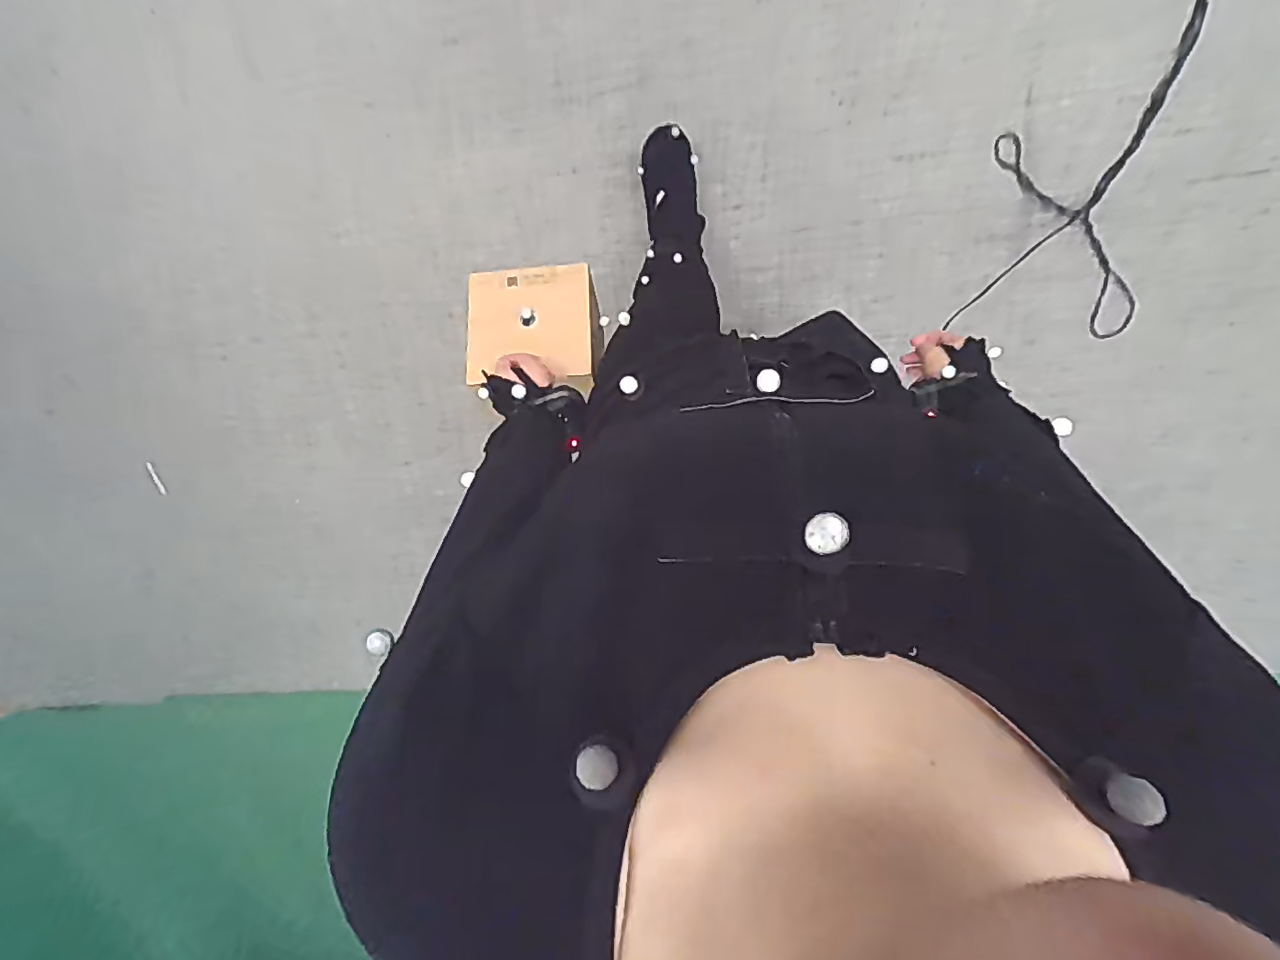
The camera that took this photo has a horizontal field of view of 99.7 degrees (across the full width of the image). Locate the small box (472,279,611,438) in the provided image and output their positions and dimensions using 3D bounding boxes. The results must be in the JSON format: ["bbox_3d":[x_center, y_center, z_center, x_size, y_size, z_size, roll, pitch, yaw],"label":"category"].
[{"bbox_3d":[-0.137,-0.177,0.795,0.168,0.179,0.176,-4,72,4],"label":"small box"}]
